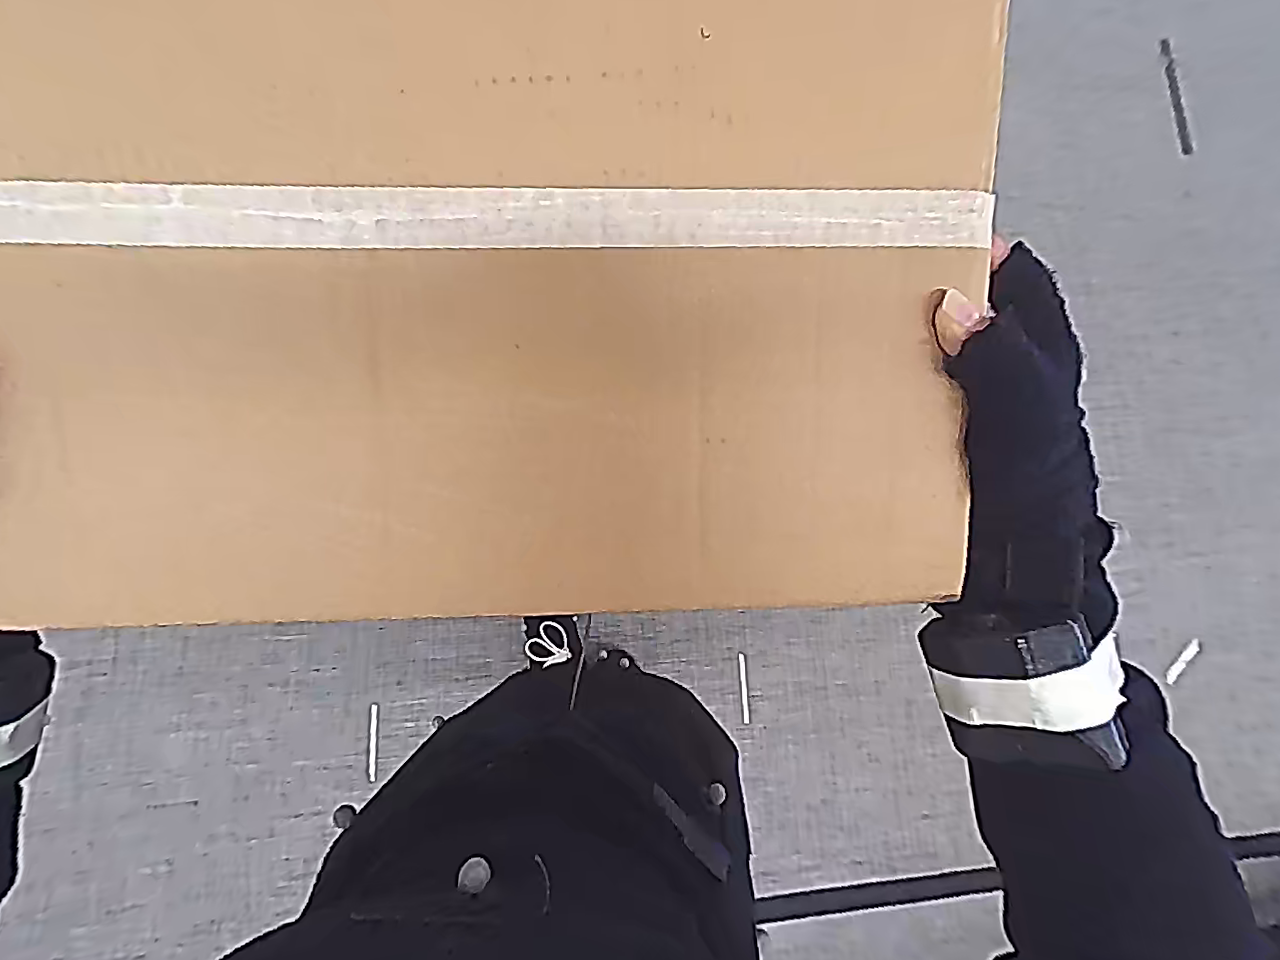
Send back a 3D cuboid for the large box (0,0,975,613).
[{"bbox_3d":[-0.073,-0.122,0.363,0.408,0.320,0.320,0,98,-4],"label":"large box"}]
